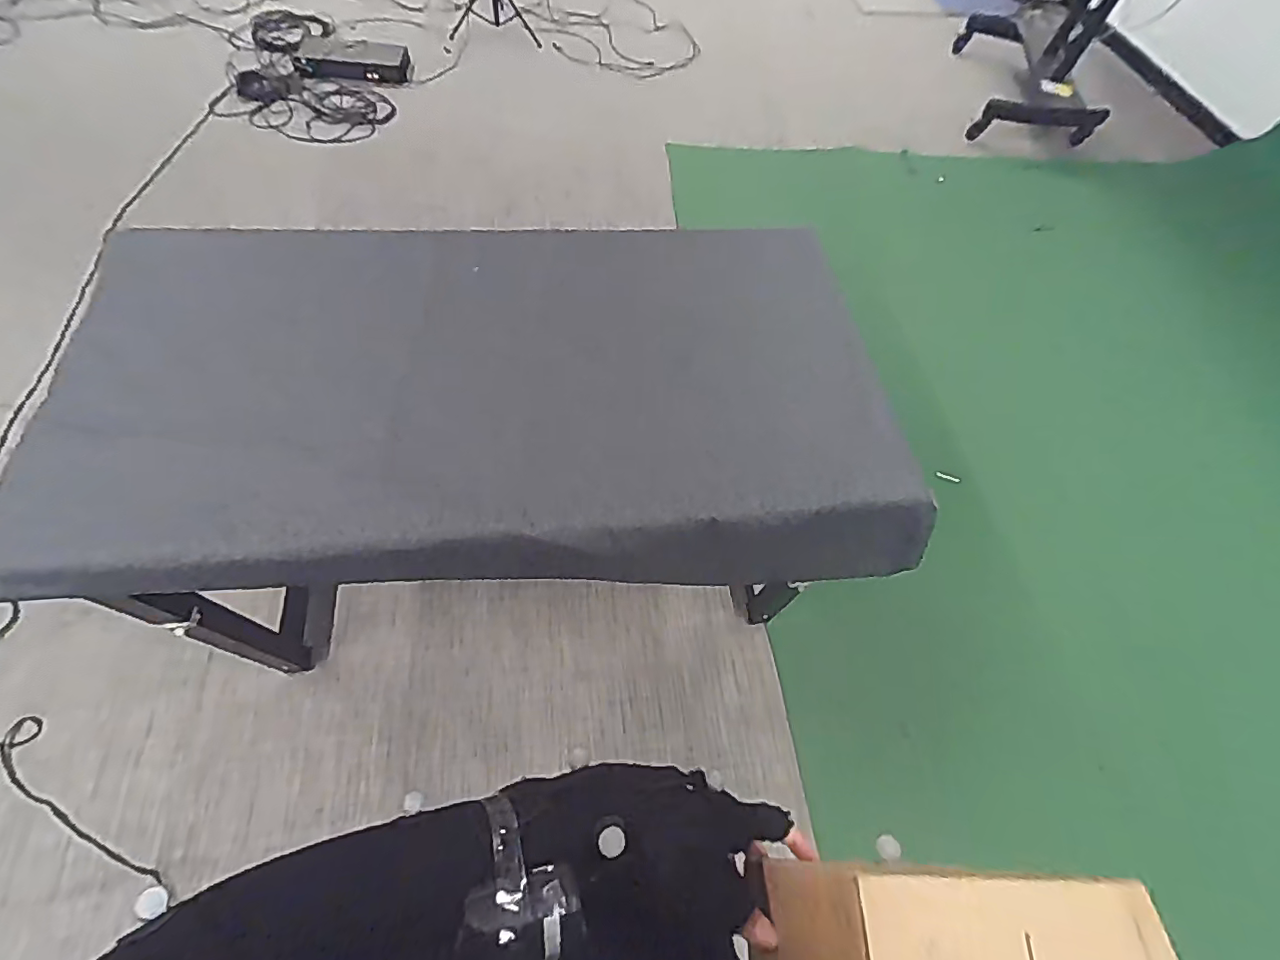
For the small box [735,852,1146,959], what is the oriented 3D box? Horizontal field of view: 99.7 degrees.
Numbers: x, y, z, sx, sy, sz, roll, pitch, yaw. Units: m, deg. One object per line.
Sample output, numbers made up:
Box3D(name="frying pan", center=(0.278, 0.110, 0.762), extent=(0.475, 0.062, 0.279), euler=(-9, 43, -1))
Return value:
Box3D(name="small box", center=(0.159, 0.322, 0.304), extent=(0.168, 0.176, 0.179), euler=(9, 55, -7))
